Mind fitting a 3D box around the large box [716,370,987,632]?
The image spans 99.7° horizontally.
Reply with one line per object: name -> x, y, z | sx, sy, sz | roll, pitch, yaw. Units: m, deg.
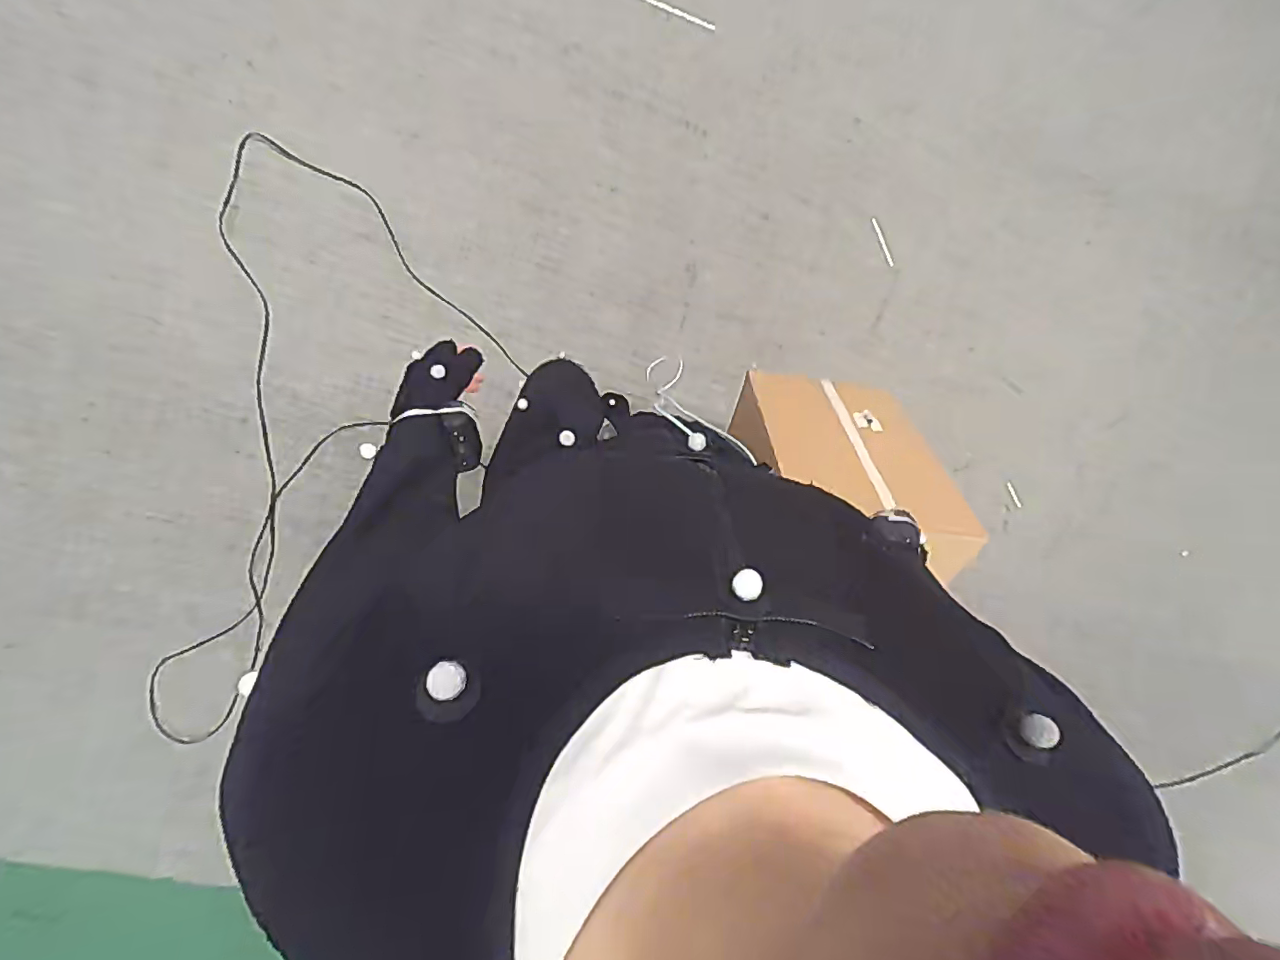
large box -> 0.351, 0.038, 1.044 | 0.320, 0.408, 0.320 | 7, 132, -7
